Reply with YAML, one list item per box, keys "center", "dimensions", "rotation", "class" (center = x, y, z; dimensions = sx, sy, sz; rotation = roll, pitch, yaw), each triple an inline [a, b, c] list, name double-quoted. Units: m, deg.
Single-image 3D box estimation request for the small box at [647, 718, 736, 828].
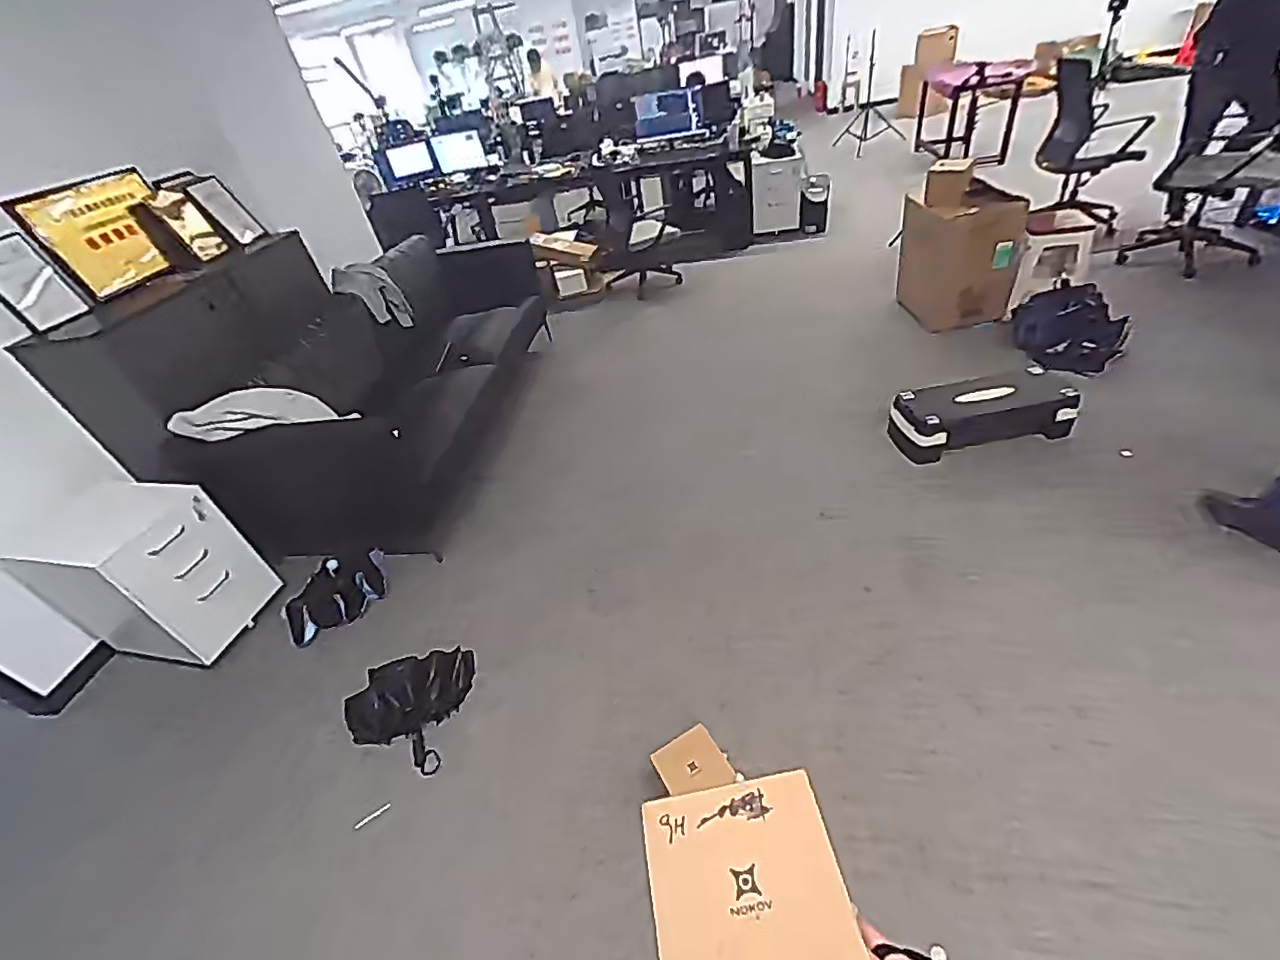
- center: [0.140, 0.777, 1.423]
  dimensions: [0.168, 0.176, 0.179]
  rotation: [-25, 39, -18]
  class: "small box"
